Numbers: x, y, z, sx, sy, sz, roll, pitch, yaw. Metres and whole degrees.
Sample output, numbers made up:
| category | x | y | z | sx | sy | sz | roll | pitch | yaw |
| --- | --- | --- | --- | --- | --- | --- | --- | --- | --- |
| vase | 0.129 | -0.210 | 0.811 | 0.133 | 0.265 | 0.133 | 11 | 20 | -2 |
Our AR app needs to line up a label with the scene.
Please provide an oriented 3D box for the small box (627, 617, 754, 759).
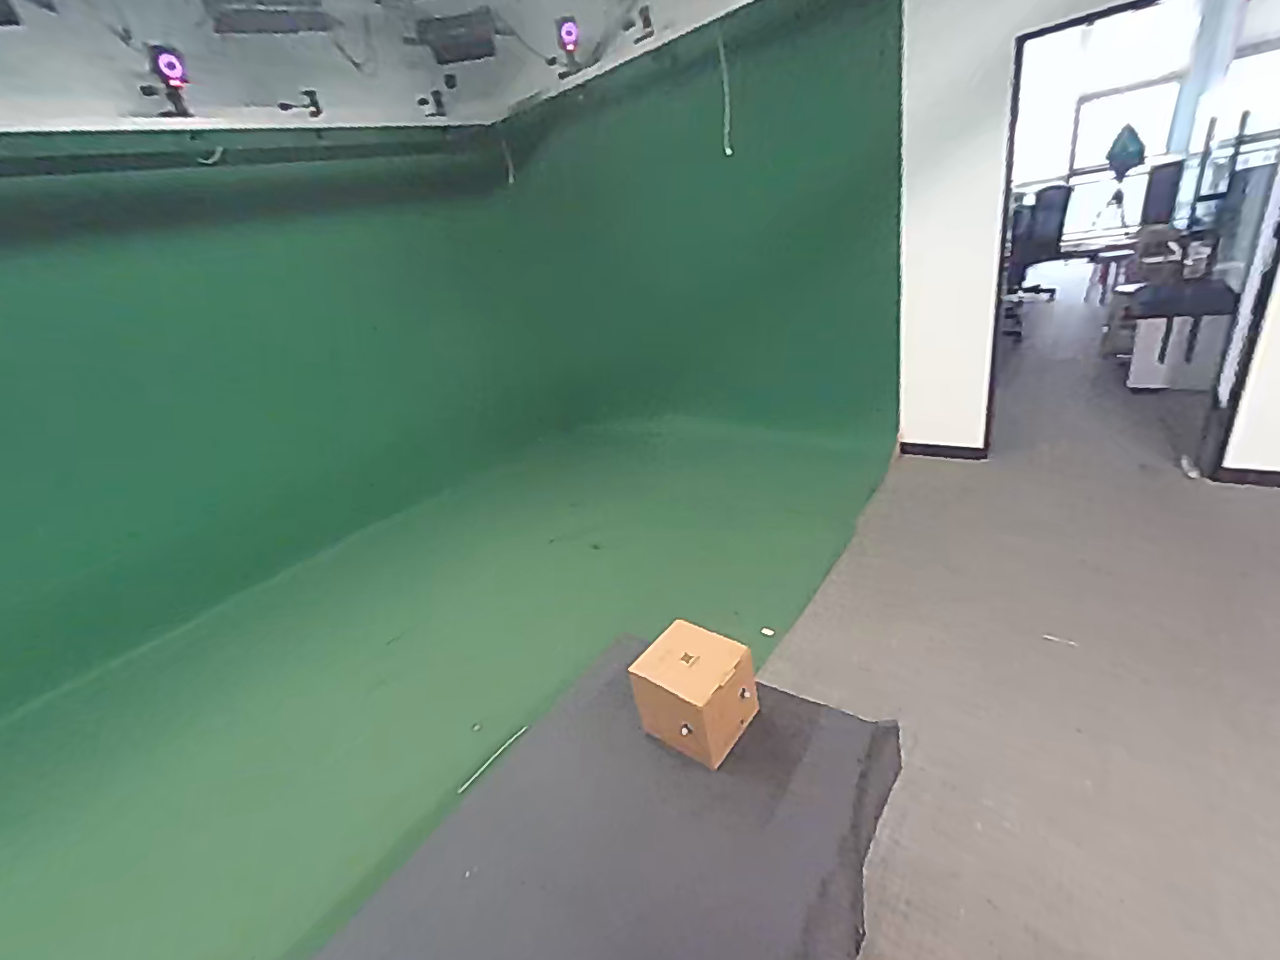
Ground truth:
| category | x | y | z | sx | sy | sz | roll | pitch | yaw |
| --- | --- | --- | --- | --- | --- | --- | --- | --- | --- |
| small box | 0.105 | 0.405 | 1.055 | 0.179 | 0.176 | 0.168 | 10 | 31 | 41 |
